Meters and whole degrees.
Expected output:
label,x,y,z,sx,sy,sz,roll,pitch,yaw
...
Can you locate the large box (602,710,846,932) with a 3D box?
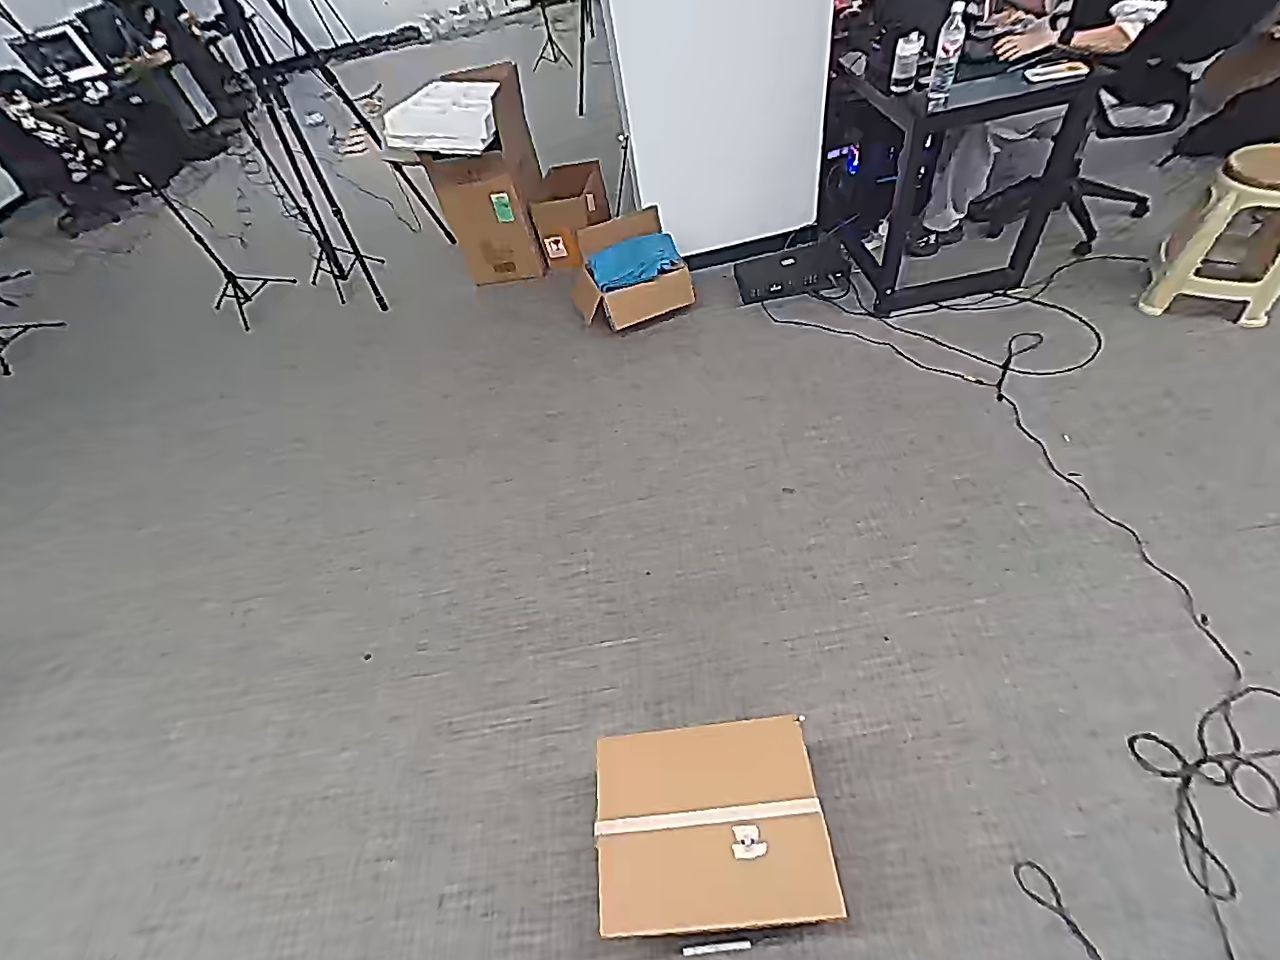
label,x,y,z,sx,sy,sz,roll,pitch,yaw
large box,0.151,0.695,1.094,0.408,0.320,0.320,-9,50,5
